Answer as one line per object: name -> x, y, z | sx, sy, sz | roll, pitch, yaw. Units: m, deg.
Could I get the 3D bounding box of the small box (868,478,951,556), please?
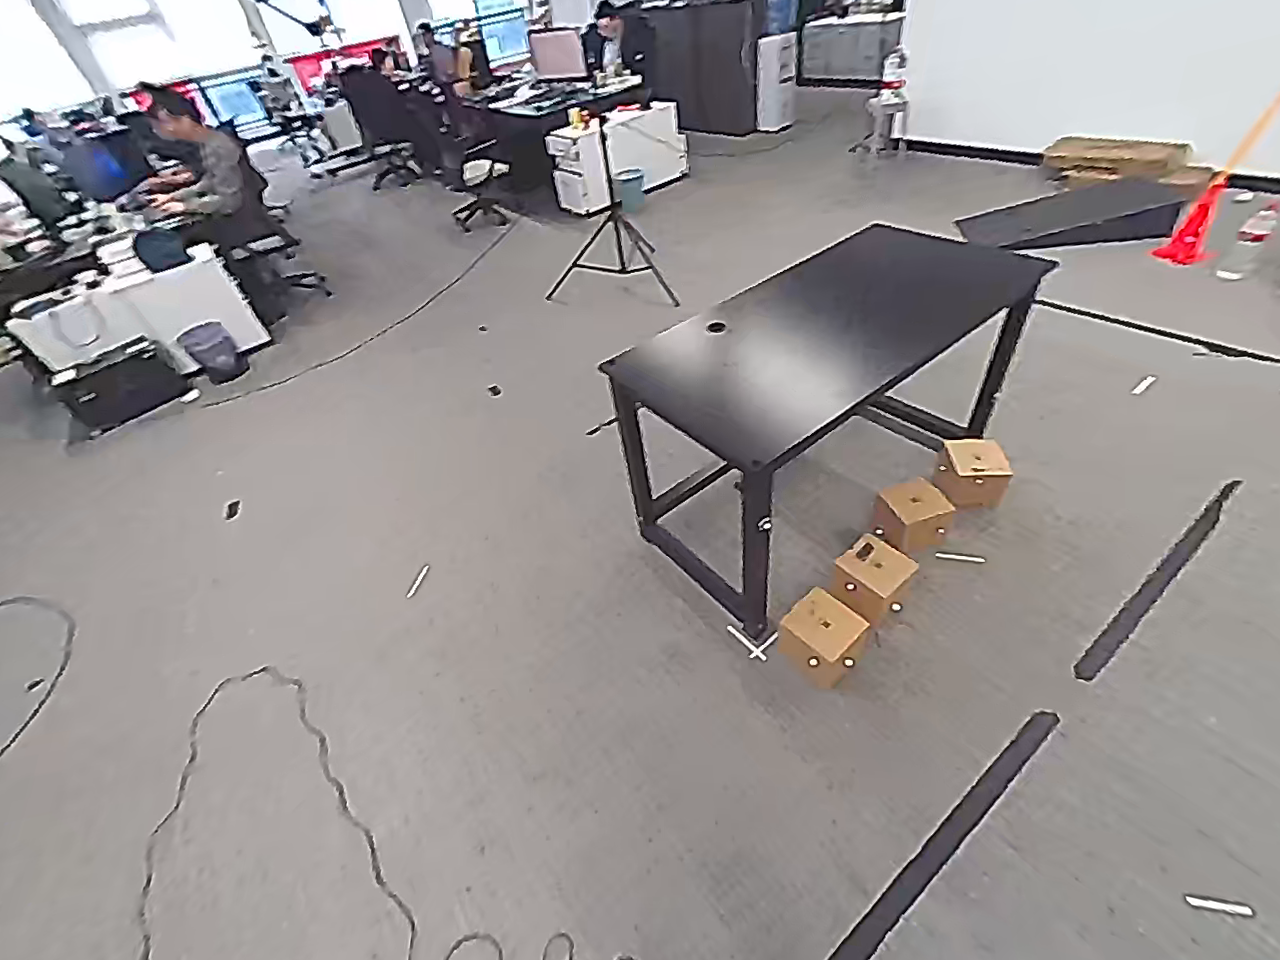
small box -> 0.881, 0.125, 1.786 | 0.179, 0.176, 0.168 | -18, 43, -6

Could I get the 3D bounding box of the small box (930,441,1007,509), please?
small box -> 1.132, -0.017, 1.878 | 0.168, 0.176, 0.179 | -2, 44, 10

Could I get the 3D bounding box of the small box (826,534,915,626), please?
small box -> 0.689, 0.305, 1.638 | 0.168, 0.176, 0.179 | -33, 49, -22
